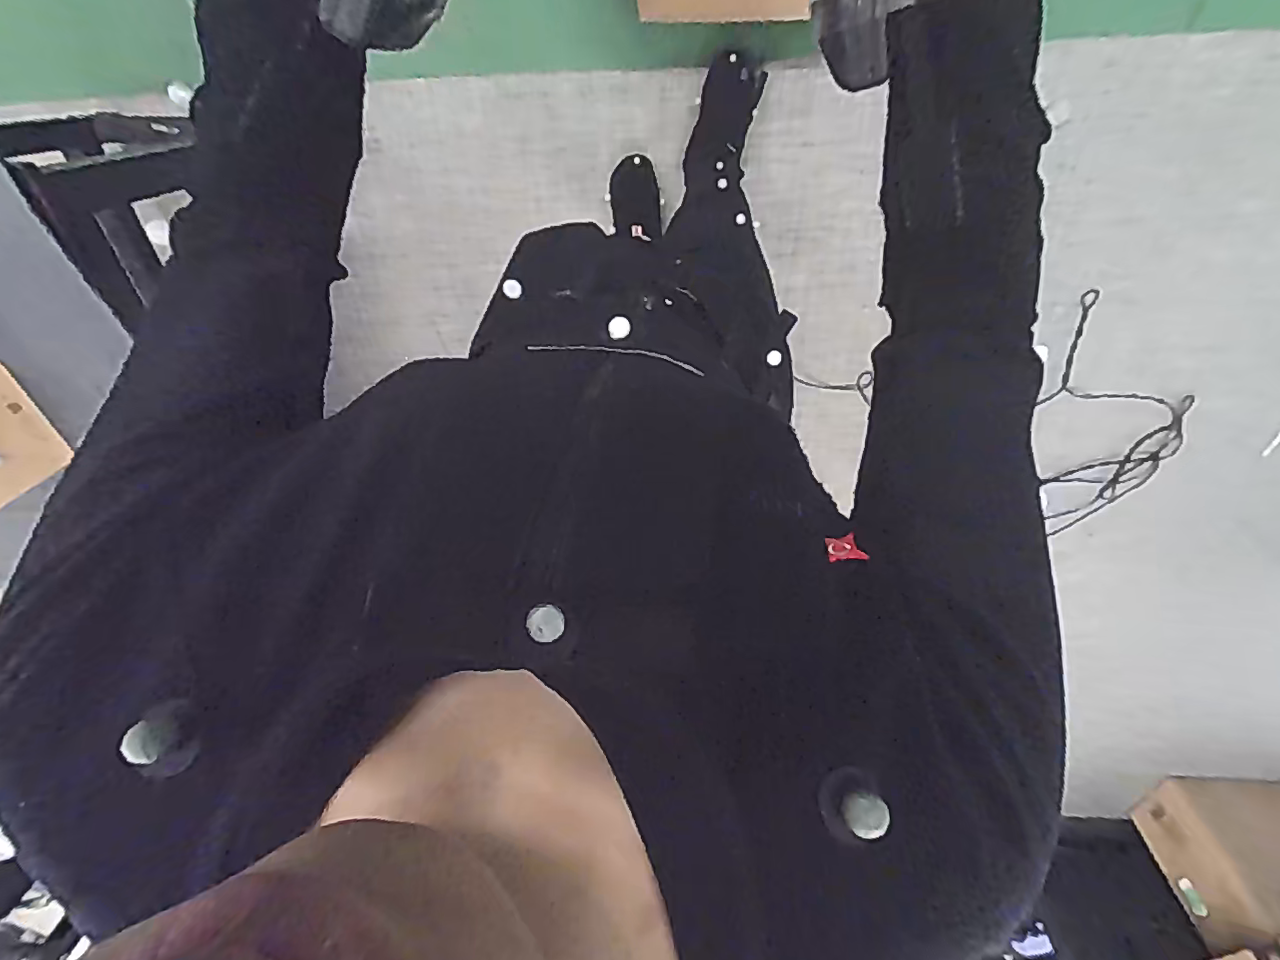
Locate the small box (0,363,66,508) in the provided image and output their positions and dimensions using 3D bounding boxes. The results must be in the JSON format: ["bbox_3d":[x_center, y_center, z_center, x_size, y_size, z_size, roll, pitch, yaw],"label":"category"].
[{"bbox_3d":[-0.964,-0.060,0.738,0.179,0.176,0.168,3,129,4],"label":"small box"}]
